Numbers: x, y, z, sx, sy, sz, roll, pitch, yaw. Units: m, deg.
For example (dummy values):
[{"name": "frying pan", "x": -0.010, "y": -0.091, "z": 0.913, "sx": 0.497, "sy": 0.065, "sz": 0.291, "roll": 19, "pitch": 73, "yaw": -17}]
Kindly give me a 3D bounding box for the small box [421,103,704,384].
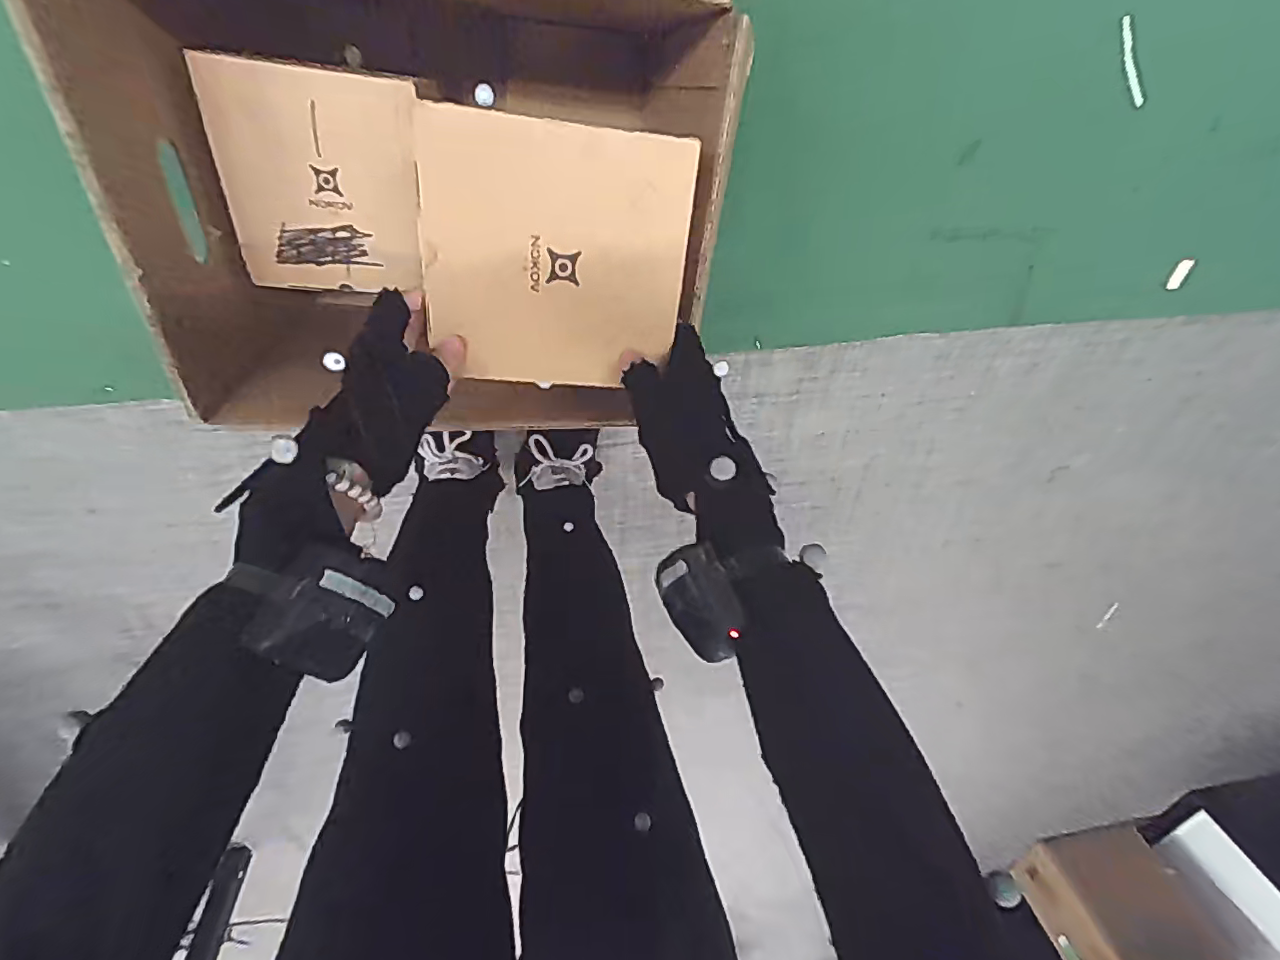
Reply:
[{"name": "small box", "x": -0.062, "y": -0.187, "z": 0.437, "sx": 0.179, "sy": 0.176, "sz": 0.168, "roll": 2, "pitch": 119, "yaw": -8}]
